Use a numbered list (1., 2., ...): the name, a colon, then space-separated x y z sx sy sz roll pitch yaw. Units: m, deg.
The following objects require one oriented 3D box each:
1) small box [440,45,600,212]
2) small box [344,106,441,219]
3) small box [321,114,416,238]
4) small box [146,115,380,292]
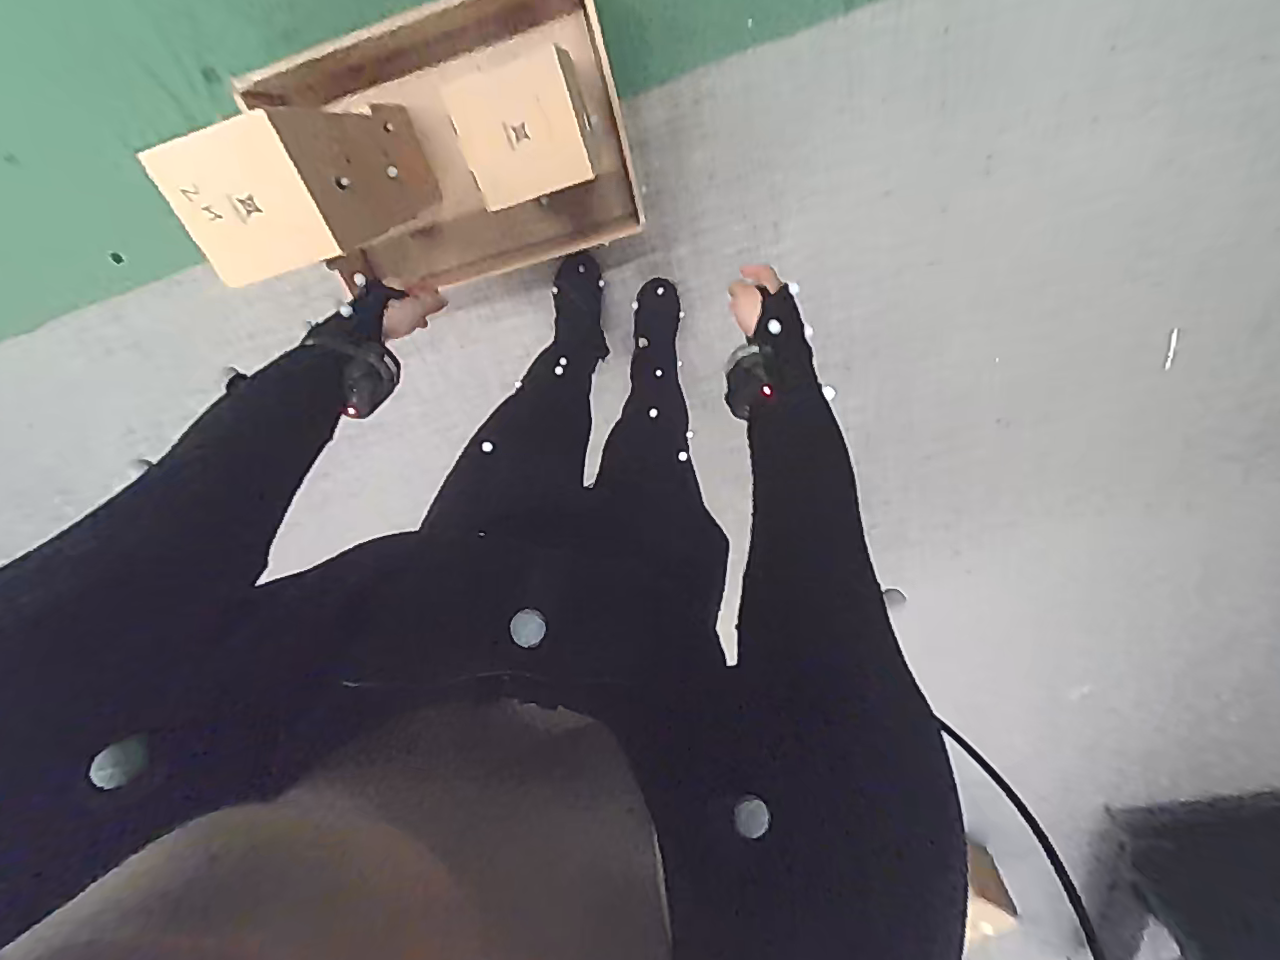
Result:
1. small box: -0.171 -0.538 0.836 0.179 0.176 0.168 -14 125 10
2. small box: -0.500 -0.573 1.008 0.168 0.176 0.179 -14 123 8
3. small box: -0.500 -0.473 0.878 0.179 0.176 0.168 -14 123 7
4. small box: -0.487 -0.382 0.740 0.179 0.176 0.168 -14 123 8
